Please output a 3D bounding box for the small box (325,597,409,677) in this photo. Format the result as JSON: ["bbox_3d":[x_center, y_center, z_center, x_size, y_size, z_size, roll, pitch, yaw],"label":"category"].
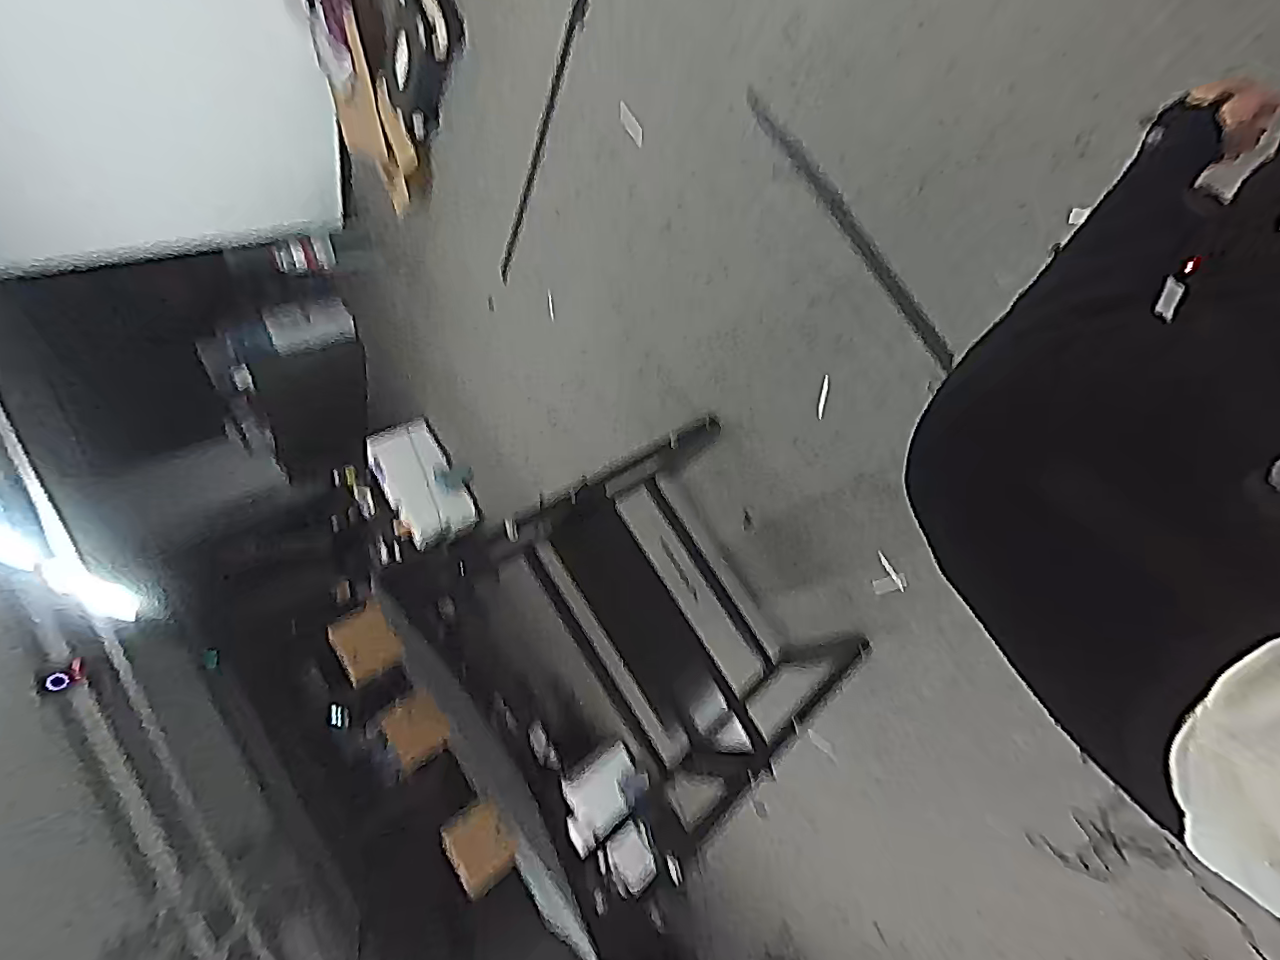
[{"bbox_3d":[-0.816,0.470,1.625,0.168,0.176,0.179,58,148,2],"label":"small box"}]

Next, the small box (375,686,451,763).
[{"bbox_3d":[-0.754,0.803,1.796,0.179,0.176,0.168,58,148,4],"label":"small box"}]
